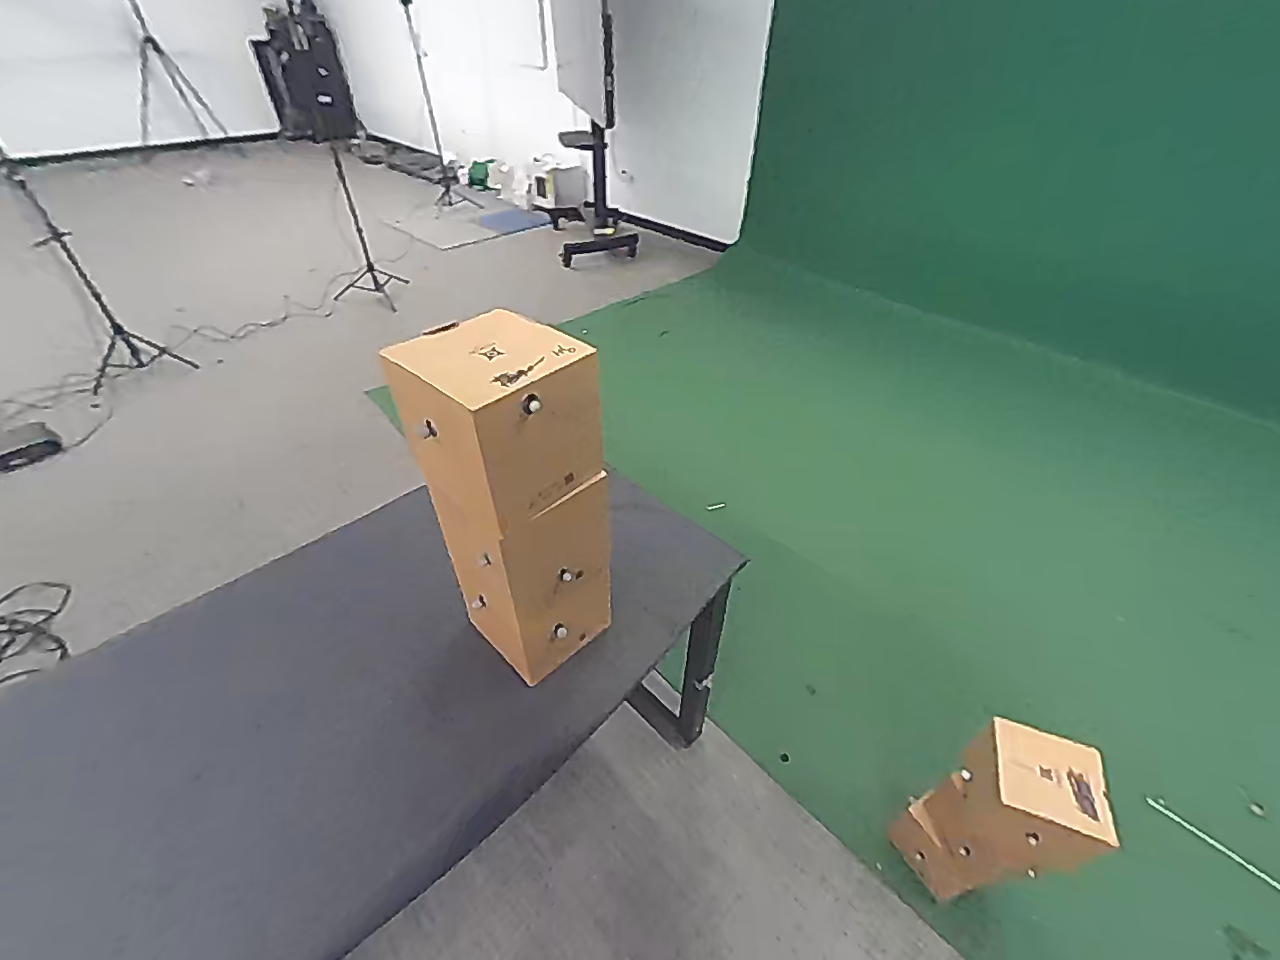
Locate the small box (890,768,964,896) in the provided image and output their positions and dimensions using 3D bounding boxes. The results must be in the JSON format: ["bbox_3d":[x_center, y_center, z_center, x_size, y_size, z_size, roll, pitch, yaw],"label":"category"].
[{"bbox_3d":[0.705,0.809,1.242,0.179,0.176,0.168,-19,46,-22],"label":"small box"}]

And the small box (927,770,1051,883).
[{"bbox_3d":[0.726,0.706,1.114,0.179,0.176,0.168,-4,44,-7],"label":"small box"}]

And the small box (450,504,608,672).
[{"bbox_3d":[-0.162,0.168,0.839,0.168,0.176,0.179,-33,50,-32],"label":"small box"}]

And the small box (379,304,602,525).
[{"bbox_3d":[-0.161,-0.079,0.622,0.179,0.176,0.168,30,49,31],"label":"small box"}]

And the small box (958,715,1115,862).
[{"bbox_3d":[0.723,0.579,1.009,0.179,0.176,0.168,16,45,16],"label":"small box"}]
